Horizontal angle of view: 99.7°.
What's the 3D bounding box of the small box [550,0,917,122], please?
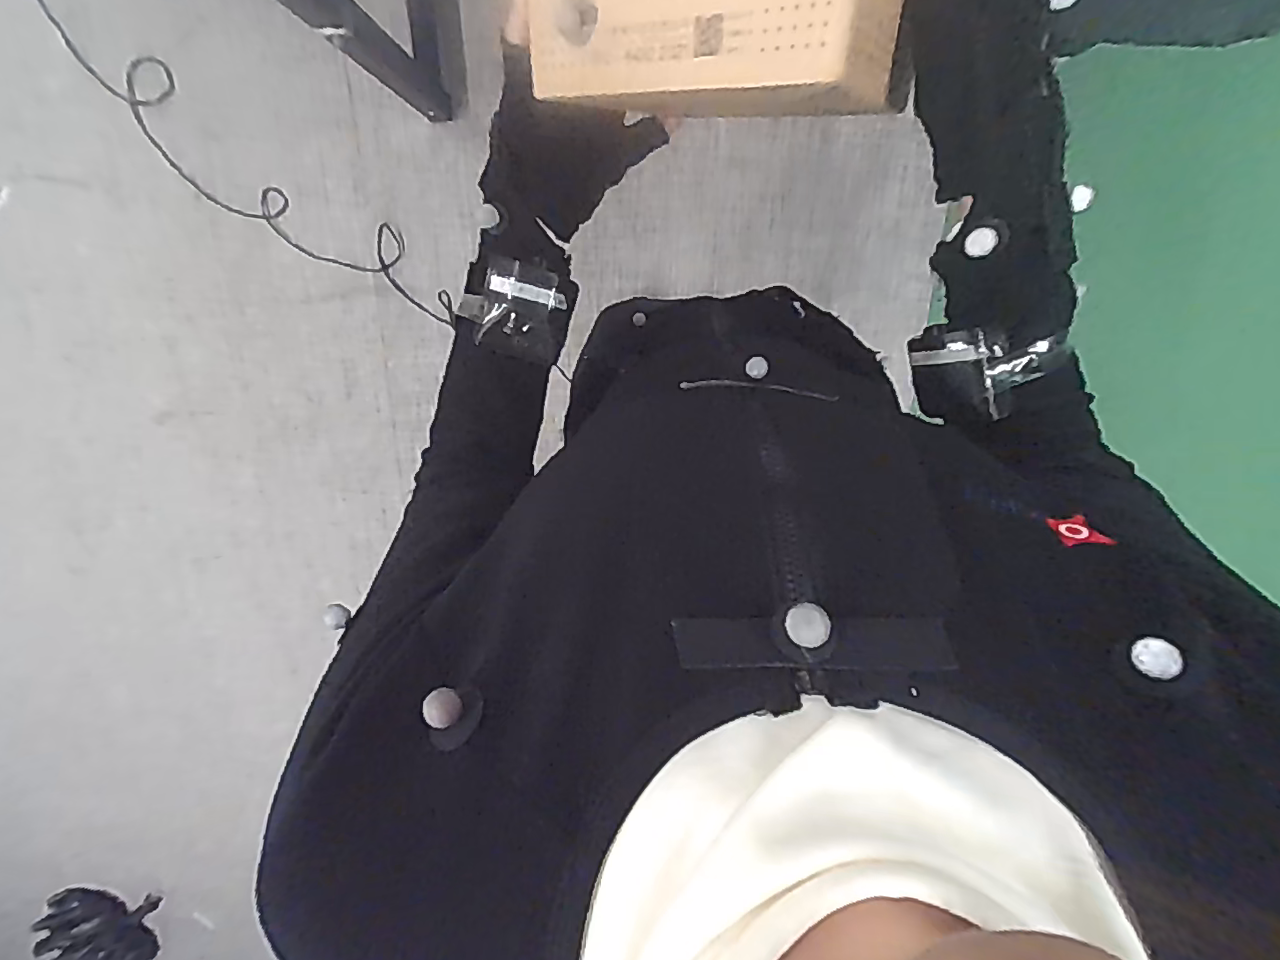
[{"bbox_3d":[0.059,-0.303,0.291,0.168,0.179,0.176,17,124,26],"label":"small box"}]
